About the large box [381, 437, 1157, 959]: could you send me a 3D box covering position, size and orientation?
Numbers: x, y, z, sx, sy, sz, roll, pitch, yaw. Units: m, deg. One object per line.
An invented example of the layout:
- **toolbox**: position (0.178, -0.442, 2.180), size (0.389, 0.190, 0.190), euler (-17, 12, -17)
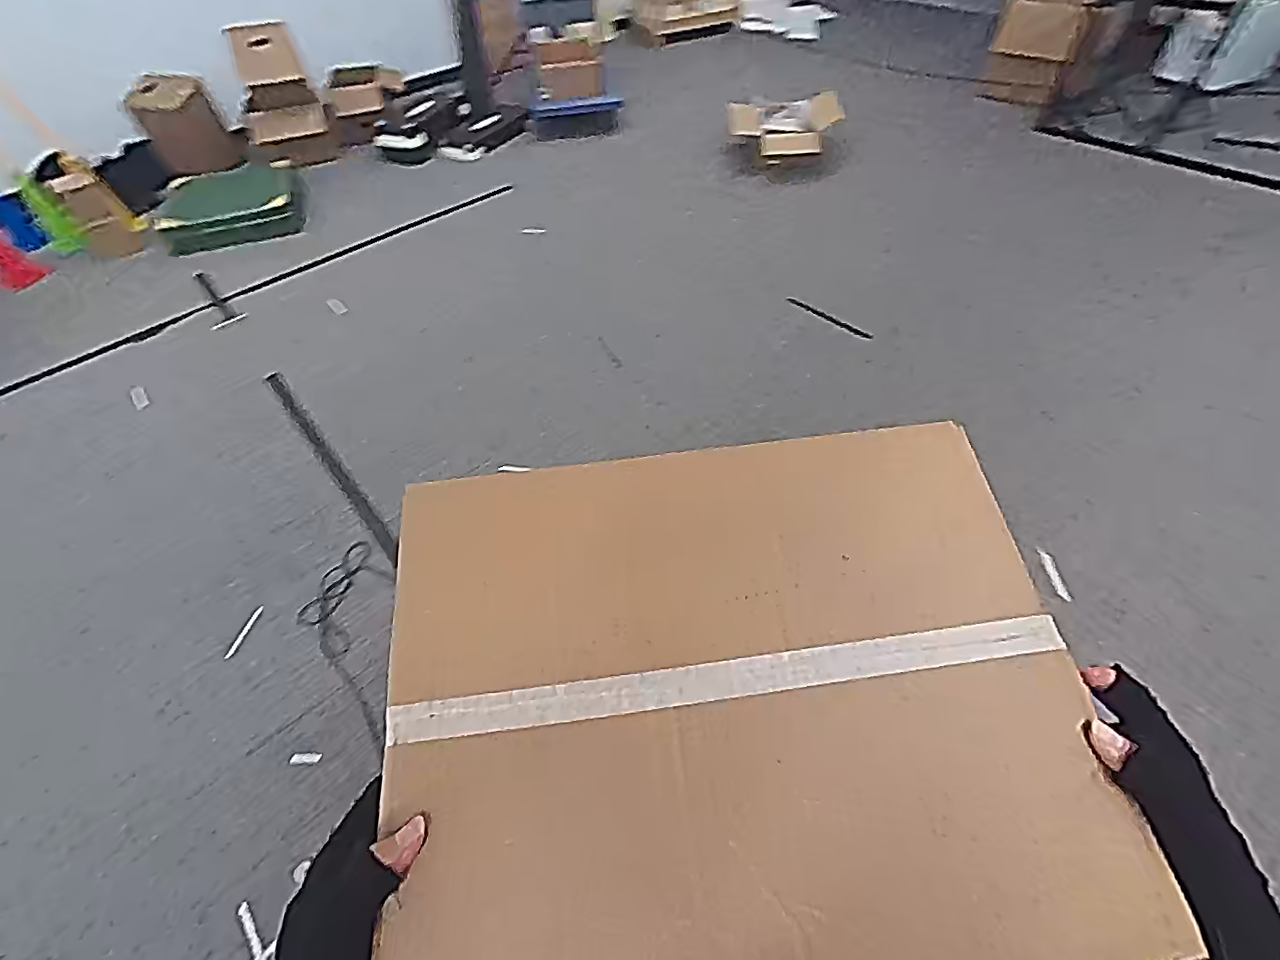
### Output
- **large box**: position (0.052, 0.197, 0.462), size (0.408, 0.320, 0.320), euler (-8, 63, -3)
